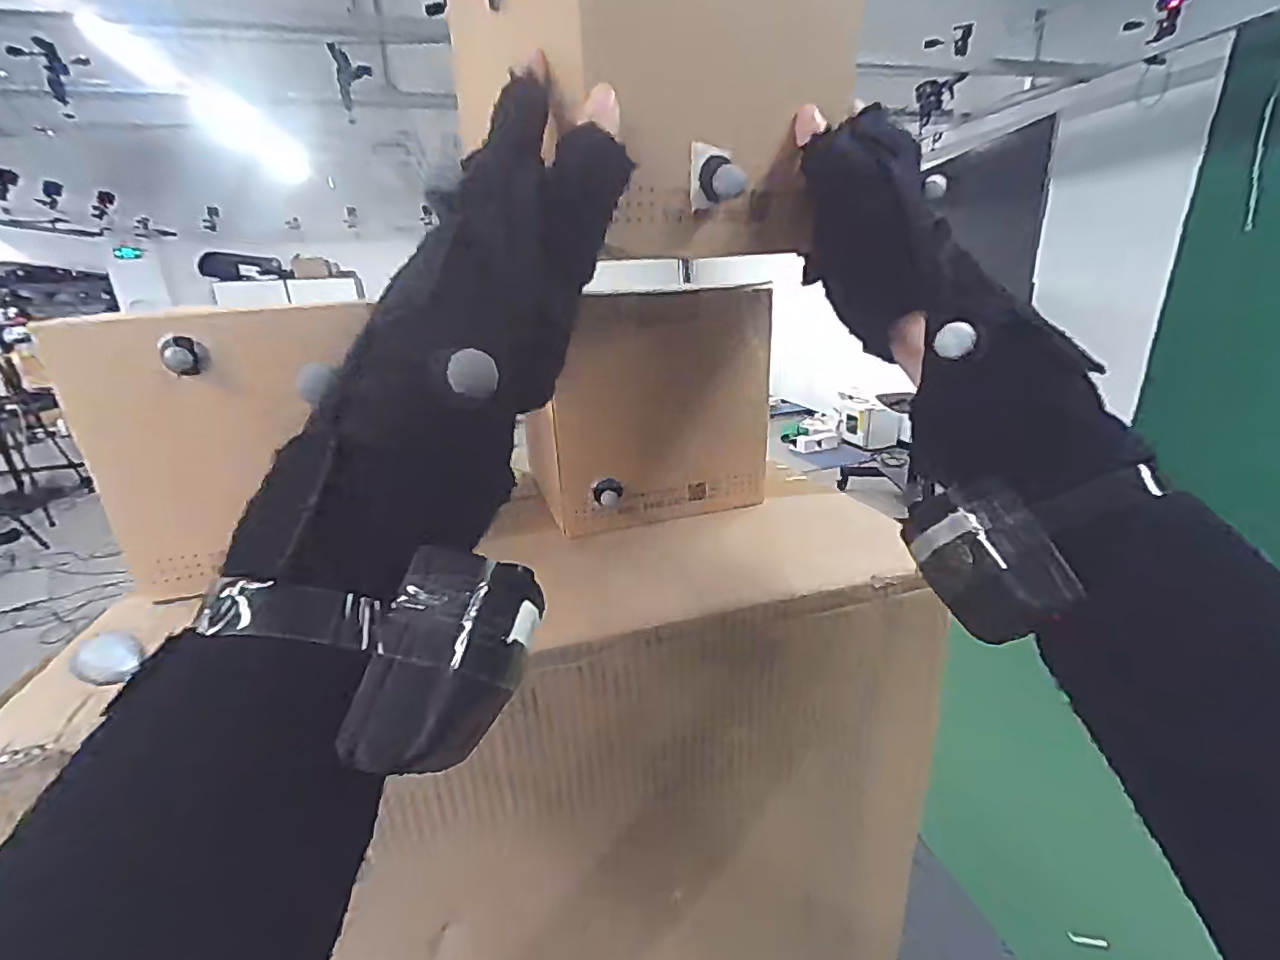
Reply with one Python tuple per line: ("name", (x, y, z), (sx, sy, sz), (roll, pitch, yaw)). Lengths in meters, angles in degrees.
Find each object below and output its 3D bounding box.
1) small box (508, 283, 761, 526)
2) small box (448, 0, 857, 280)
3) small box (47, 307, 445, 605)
("small box", (-0.010, -0.070, 0.461), (0.168, 0.176, 0.179), (-10, 21, -17))
("small box", (-0.004, -0.216, 0.317), (0.168, 0.176, 0.179), (-18, 33, -28))
("small box", (-0.250, -0.032, 0.403), (0.168, 0.176, 0.179), (-11, 20, -12))
